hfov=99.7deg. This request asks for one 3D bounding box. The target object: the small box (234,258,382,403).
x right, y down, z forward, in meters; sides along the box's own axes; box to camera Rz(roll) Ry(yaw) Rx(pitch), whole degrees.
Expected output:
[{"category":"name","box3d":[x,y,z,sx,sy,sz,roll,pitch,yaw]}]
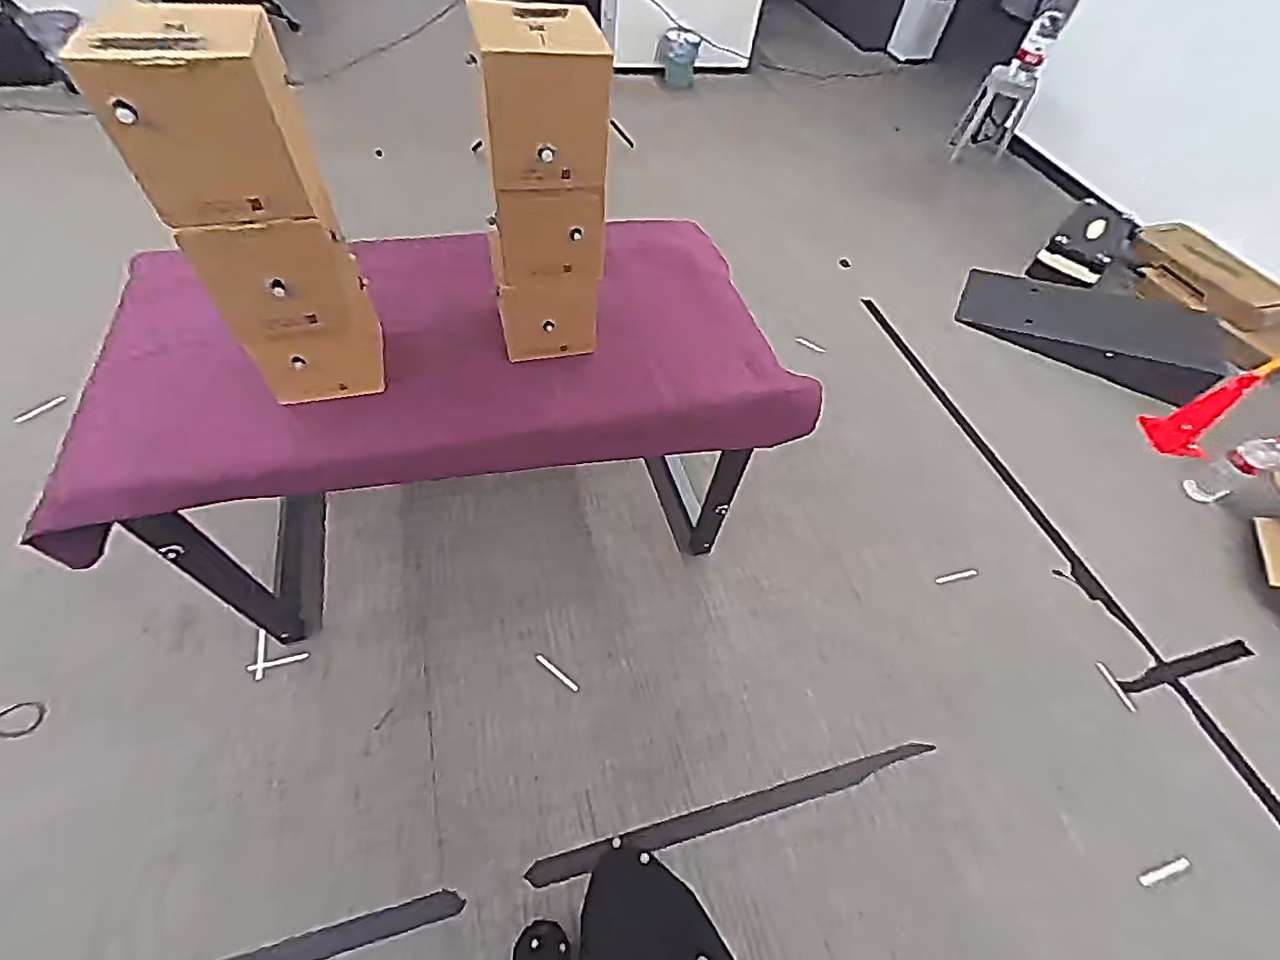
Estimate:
[{"category":"small box","box3d":[-0.550,-0.247,0.919,0.168,0.176,0.179,-11,57,-14]}]

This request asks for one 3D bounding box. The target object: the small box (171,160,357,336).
[{"category":"small box","box3d":[-0.524,-0.324,0.776,0.168,0.176,0.179,-15,58,-17]}]

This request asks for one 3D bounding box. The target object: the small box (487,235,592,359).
[{"category":"small box","box3d":[-0.189,-0.347,1.031,0.168,0.176,0.179,-10,57,-14]}]

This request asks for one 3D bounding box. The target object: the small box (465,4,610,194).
[{"category":"small box","box3d":[-0.146,-0.531,0.764,0.168,0.176,0.179,-10,58,-14]}]

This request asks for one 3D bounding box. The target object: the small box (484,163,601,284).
[{"category":"small box","box3d":[-0.163,-0.445,0.904,0.168,0.176,0.179,-8,56,-14]}]
